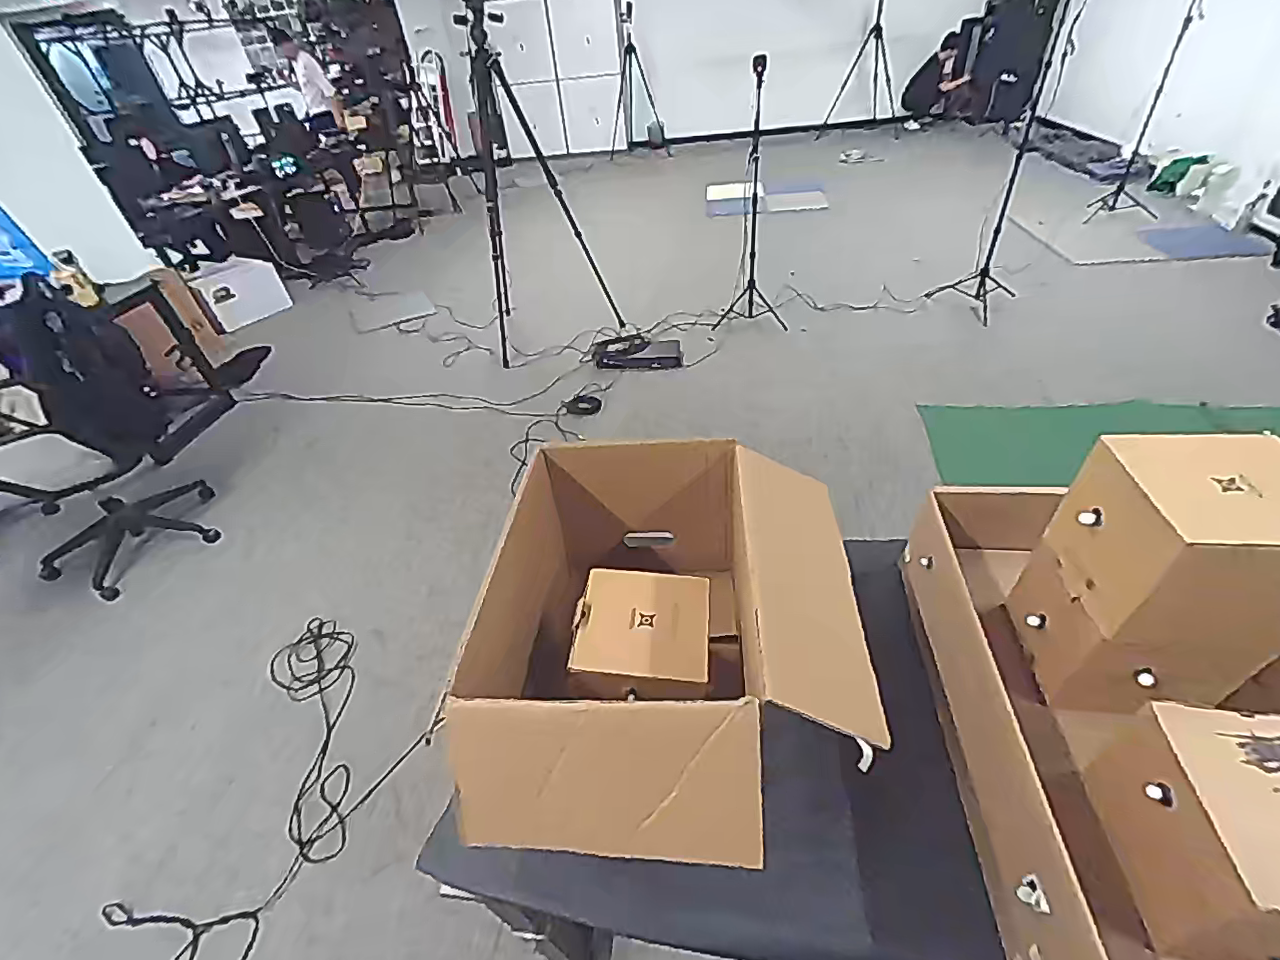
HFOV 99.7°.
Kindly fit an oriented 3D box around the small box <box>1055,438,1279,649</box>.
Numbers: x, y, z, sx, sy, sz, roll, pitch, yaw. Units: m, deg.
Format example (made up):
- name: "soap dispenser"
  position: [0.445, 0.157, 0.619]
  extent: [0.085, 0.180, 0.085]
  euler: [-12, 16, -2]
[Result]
- name: "small box"
  position: [0.601, 0.069, 0.596]
  extent: [0.179, 0.176, 0.168]
  euler: [1, 42, 9]
